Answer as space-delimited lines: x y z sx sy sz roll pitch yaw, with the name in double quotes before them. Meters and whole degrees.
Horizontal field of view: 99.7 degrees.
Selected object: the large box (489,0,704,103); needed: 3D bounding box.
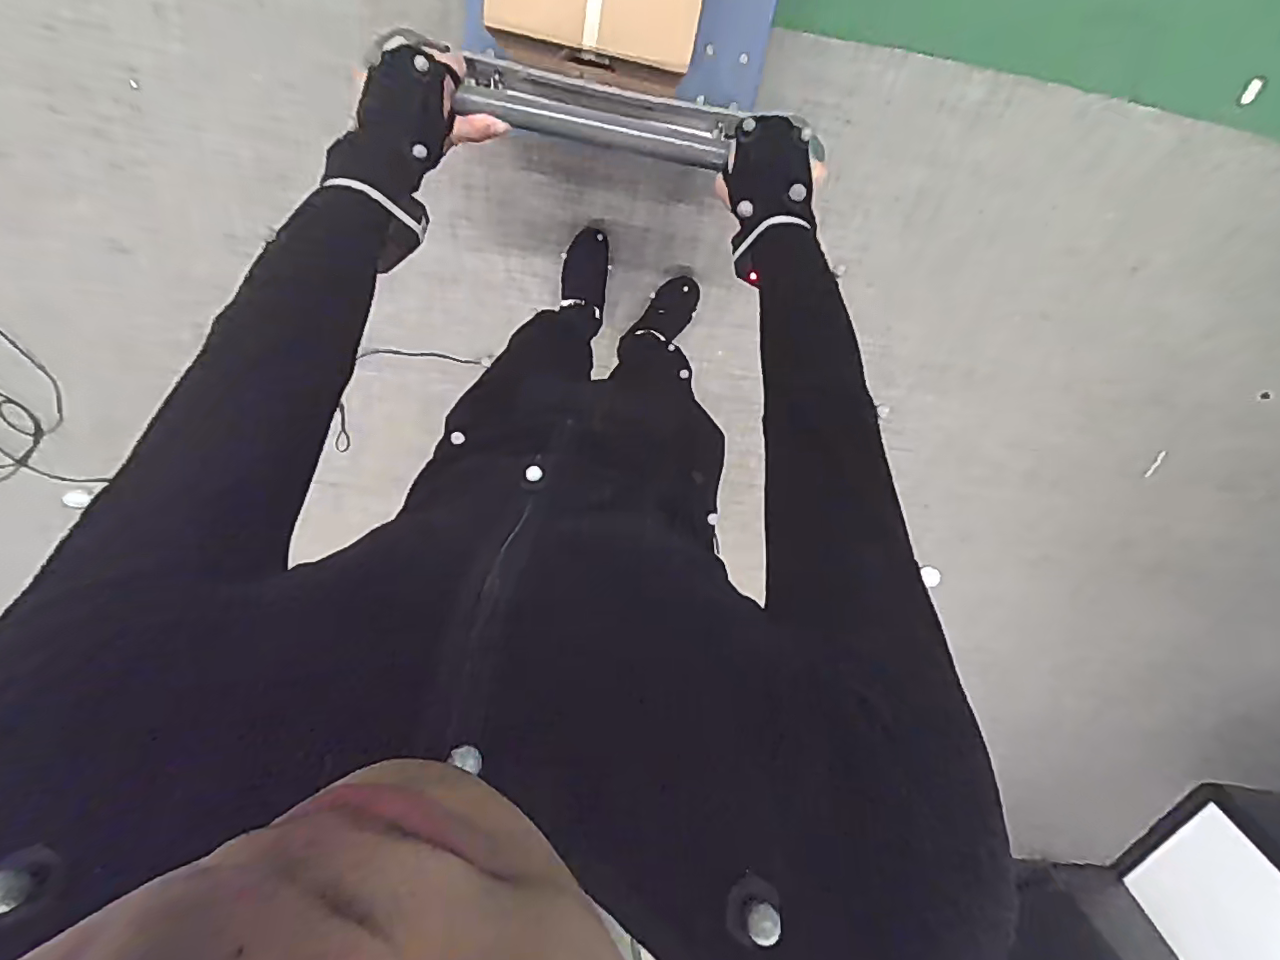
"large box" -0.046 -0.887 0.863 0.320 0.320 0.408 8 117 -8
